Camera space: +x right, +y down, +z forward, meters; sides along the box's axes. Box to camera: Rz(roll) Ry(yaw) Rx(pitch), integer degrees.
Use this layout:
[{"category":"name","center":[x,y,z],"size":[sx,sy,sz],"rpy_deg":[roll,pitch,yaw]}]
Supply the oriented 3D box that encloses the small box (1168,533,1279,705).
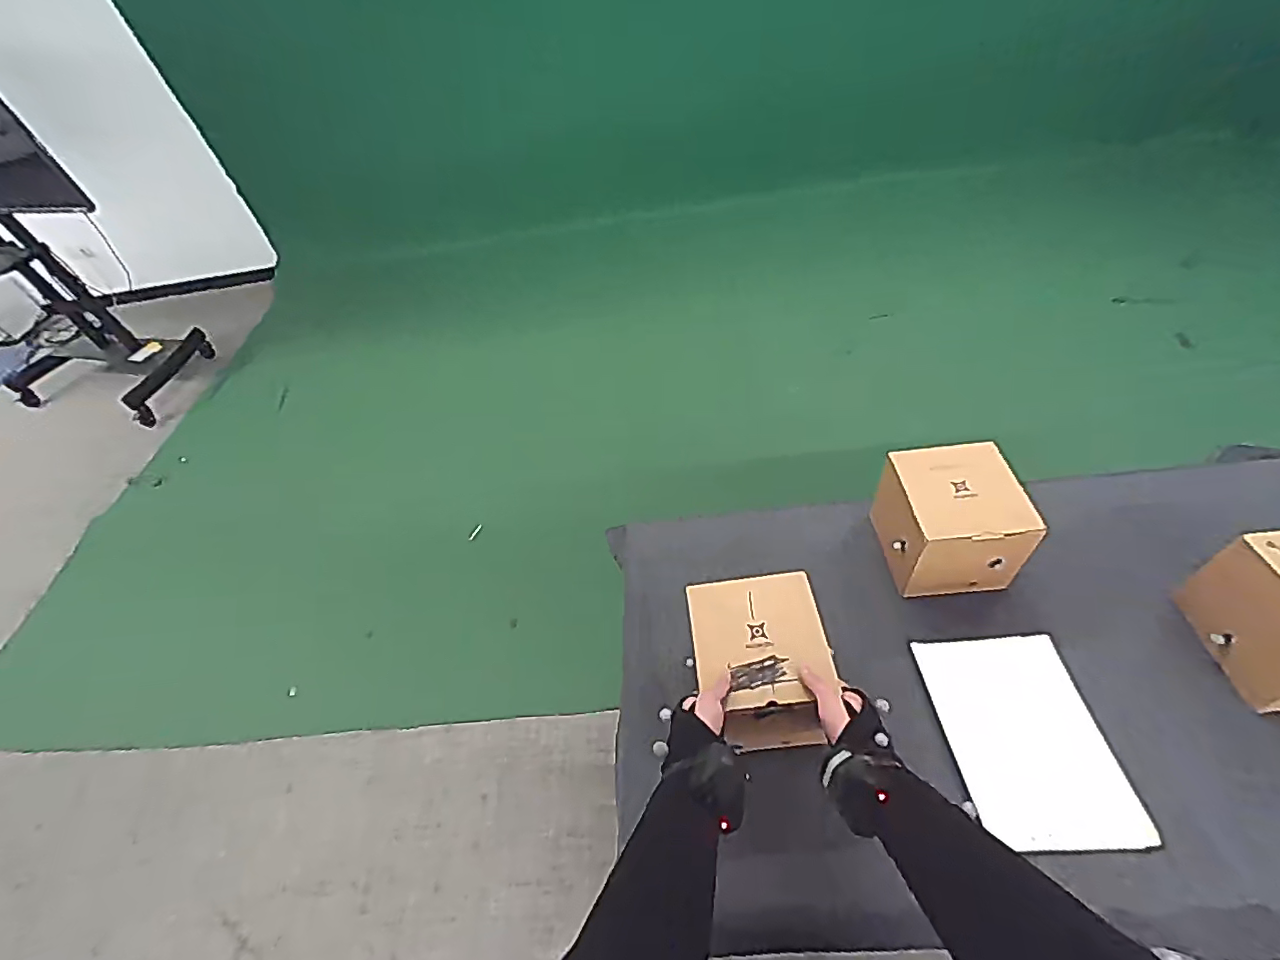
[{"category":"small box","center":[0.870,0.183,0.704],"size":[0.168,0.176,0.179],"rpy_deg":[-6,50,5]}]

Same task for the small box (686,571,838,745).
[{"category":"small box","center":[0.160,0.251,0.745],"size":[0.168,0.176,0.179],"rpy_deg":[-8,48,4]}]

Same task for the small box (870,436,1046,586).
[{"category":"small box","center":[0.487,0.057,0.861],"size":[0.168,0.176,0.179],"rpy_deg":[-6,49,4]}]
